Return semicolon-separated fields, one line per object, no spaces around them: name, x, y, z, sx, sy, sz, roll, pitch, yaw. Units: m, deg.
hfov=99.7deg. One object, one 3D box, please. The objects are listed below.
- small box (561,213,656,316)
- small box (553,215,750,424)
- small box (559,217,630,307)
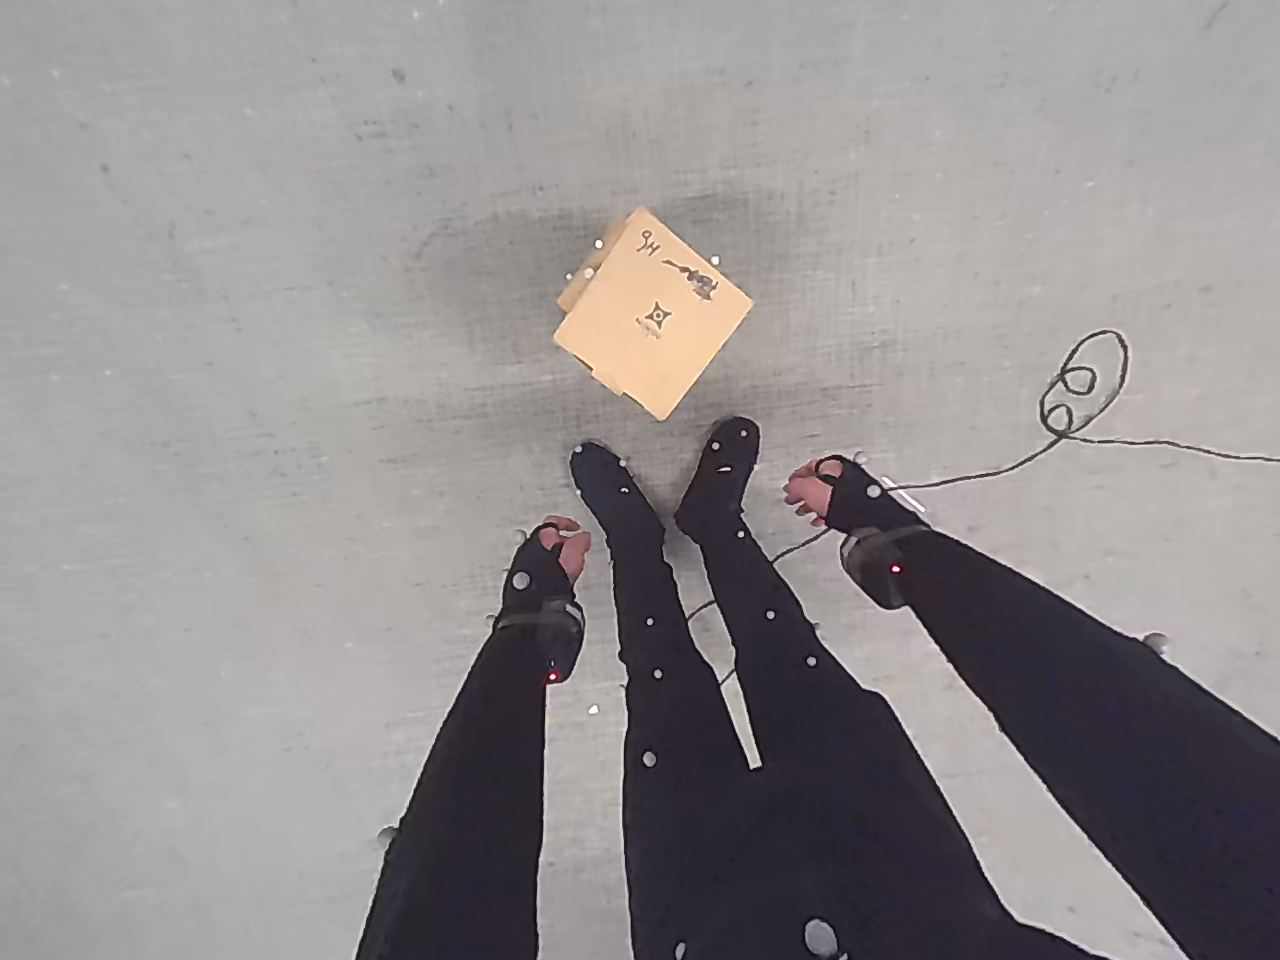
small box;-0.004;-0.279;0.842;0.168;0.176;0.179;42;102;-16
small box;0.011;-0.203;0.696;0.168;0.176;0.179;35;104;-14
small box;-0.028;-0.342;0.992;0.168;0.176;0.179;34;102;-14
